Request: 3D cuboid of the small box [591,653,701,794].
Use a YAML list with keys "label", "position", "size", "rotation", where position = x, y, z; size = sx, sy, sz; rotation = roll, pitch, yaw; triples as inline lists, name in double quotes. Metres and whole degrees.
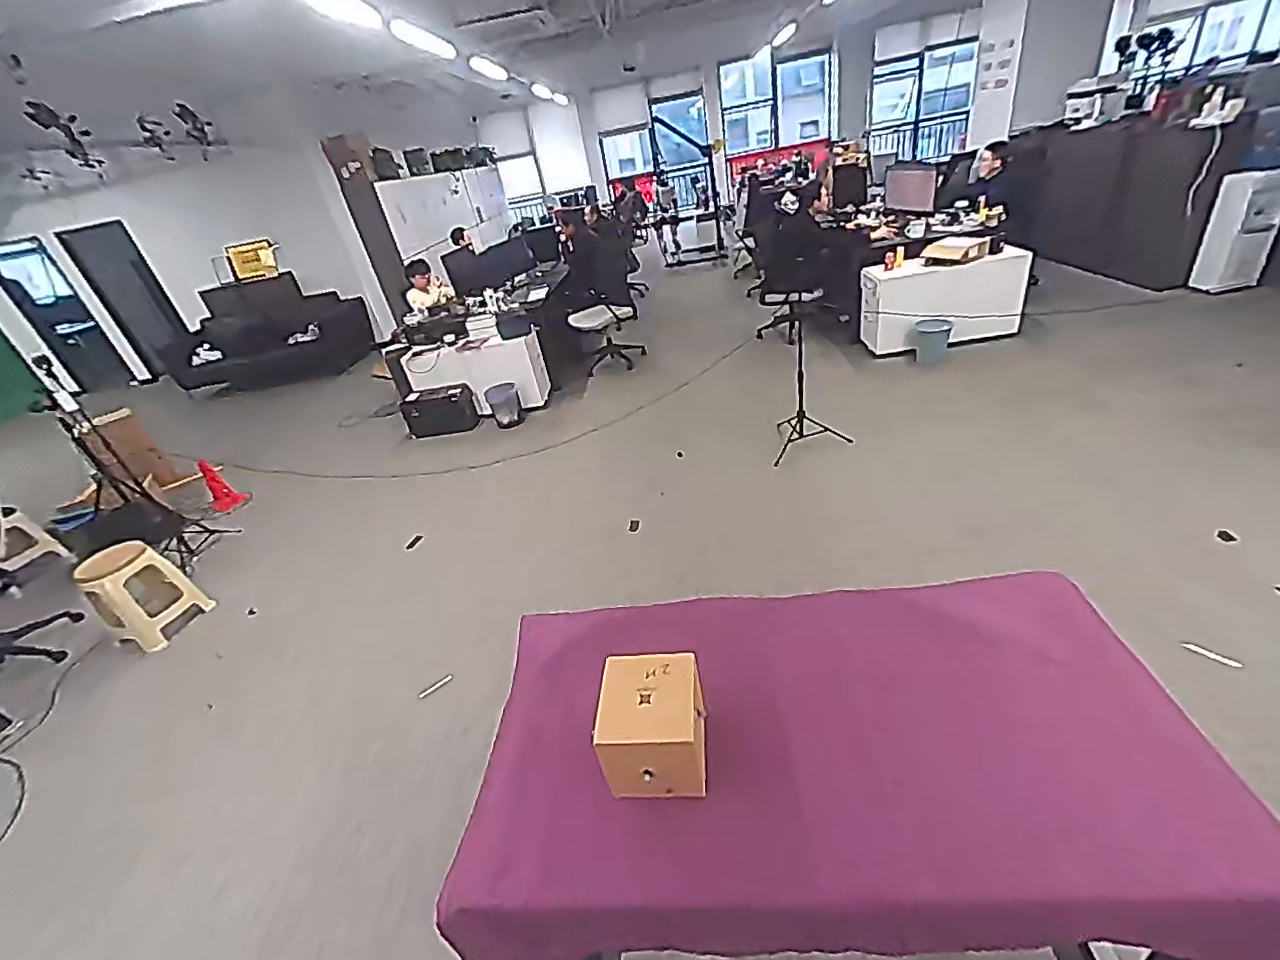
- label: "small box"
  position: [0.020, 0.438, 0.973]
  size: [0.168, 0.176, 0.179]
  rotation: [-5, 32, 9]
